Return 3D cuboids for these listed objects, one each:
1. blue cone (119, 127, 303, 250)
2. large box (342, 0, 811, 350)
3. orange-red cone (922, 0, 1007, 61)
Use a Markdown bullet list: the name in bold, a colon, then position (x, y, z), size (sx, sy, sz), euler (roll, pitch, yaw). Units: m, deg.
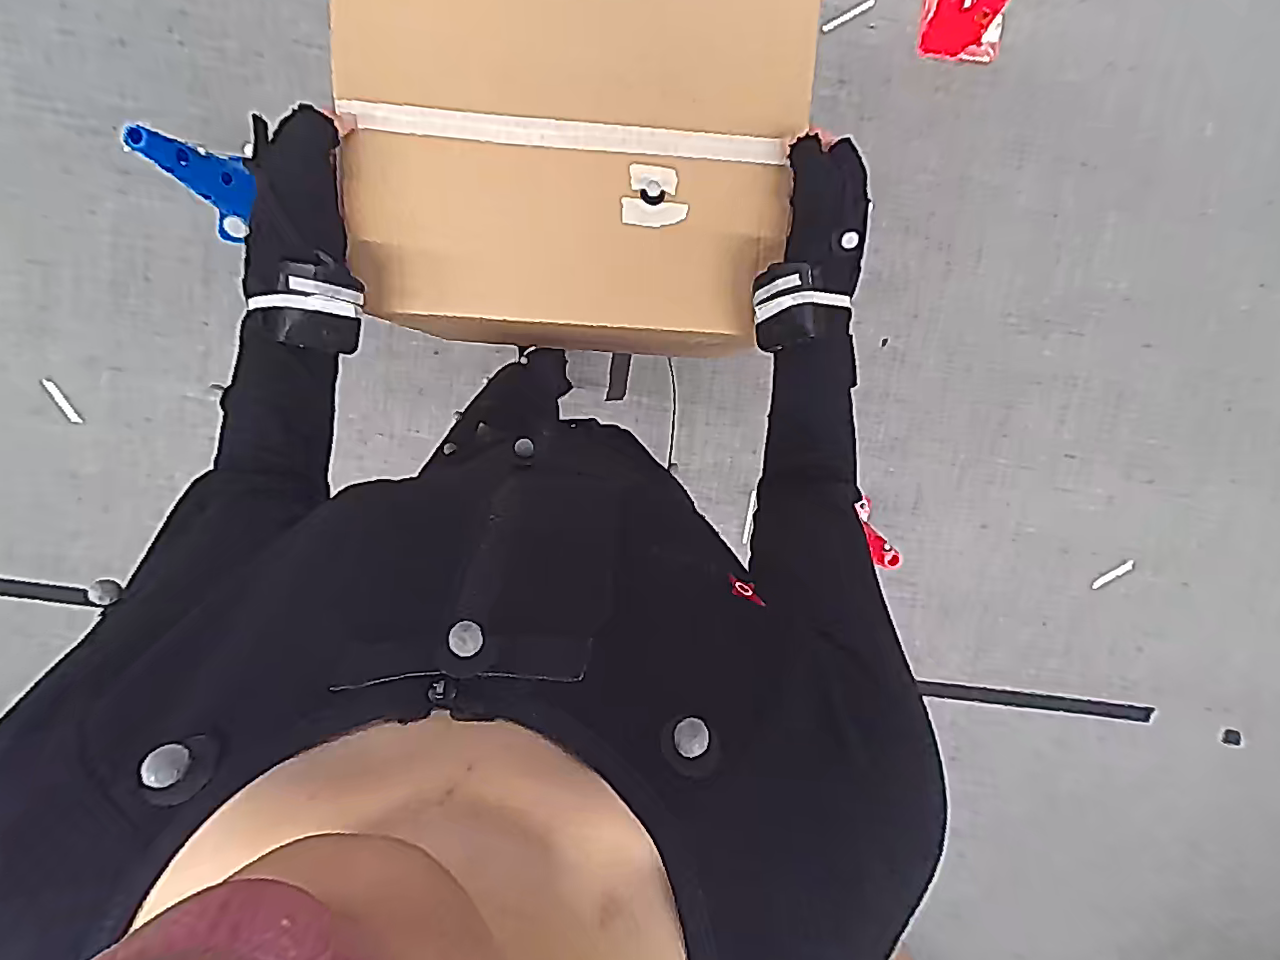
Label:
- **blue cone**: position (-0.928, -0.652, 1.171), size (0.192, 0.380, 0.193), euler (12, 98, -3)
- **large box**: position (-0.066, -0.327, 0.620), size (0.408, 0.320, 0.320), euler (2, 99, -5)
- **orange-red cone**: position (0.800, -1.116, 1.144), size (0.198, 0.360, 0.199), euler (6, 97, -4)
